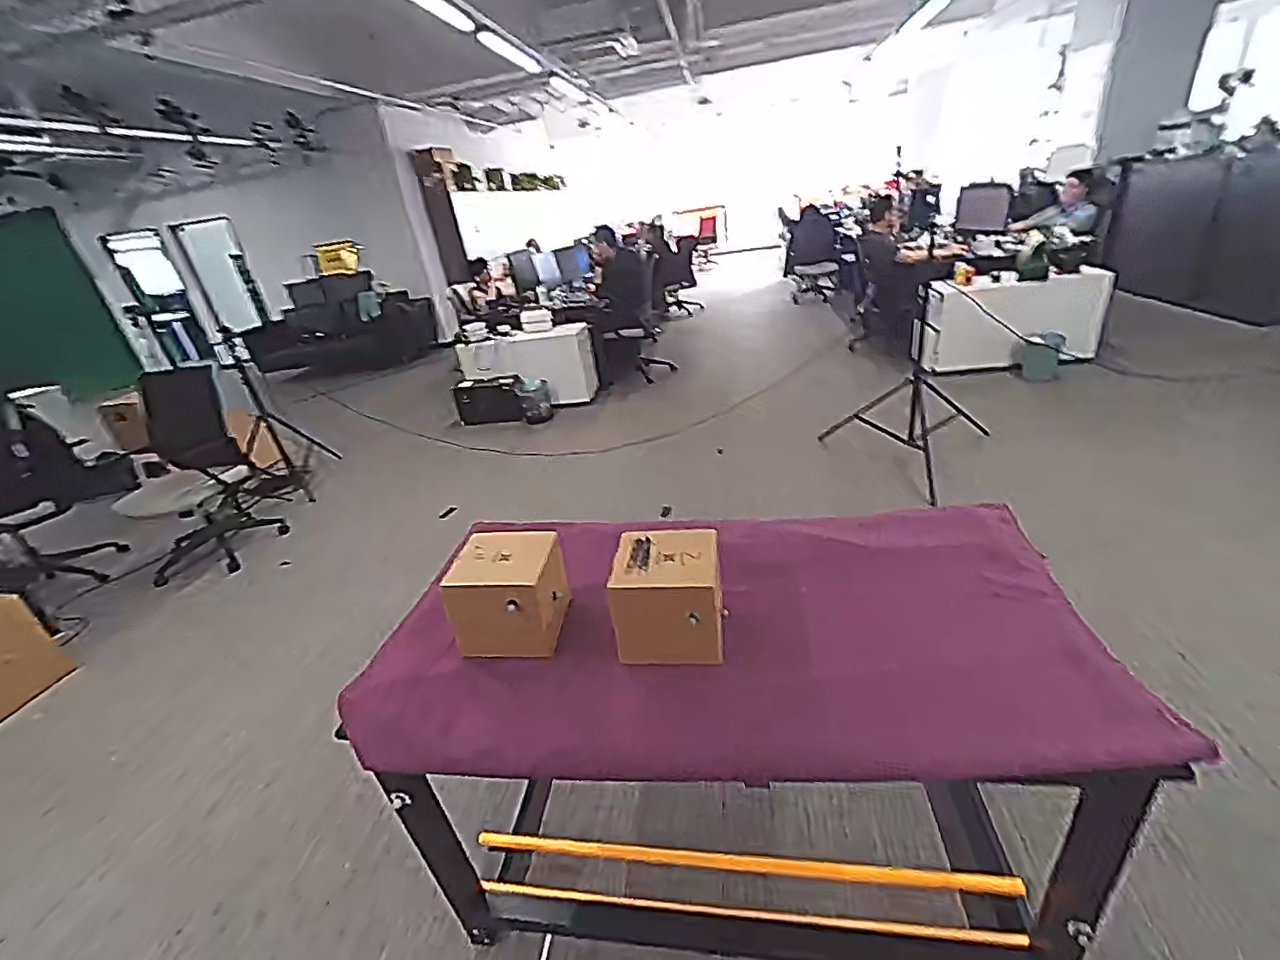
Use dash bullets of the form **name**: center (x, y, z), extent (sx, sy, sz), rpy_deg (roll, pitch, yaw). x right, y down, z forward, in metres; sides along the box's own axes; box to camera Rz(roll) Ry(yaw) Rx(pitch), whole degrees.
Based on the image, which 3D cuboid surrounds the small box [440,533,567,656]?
- **small box**: center (-0.246, 0.216, 1.027), extent (0.179, 0.176, 0.168), rpy_deg (-2, 27, 7)
